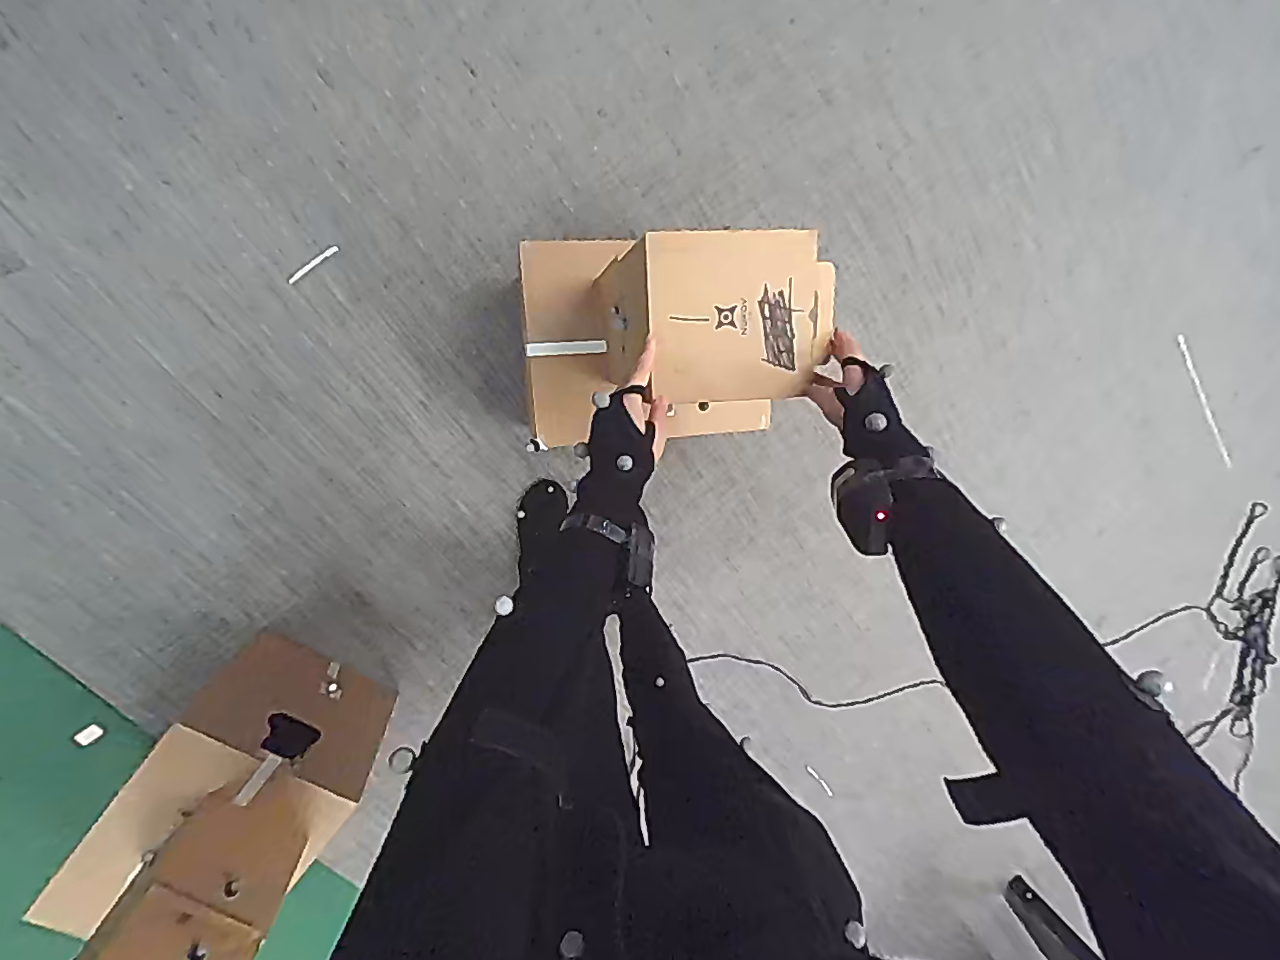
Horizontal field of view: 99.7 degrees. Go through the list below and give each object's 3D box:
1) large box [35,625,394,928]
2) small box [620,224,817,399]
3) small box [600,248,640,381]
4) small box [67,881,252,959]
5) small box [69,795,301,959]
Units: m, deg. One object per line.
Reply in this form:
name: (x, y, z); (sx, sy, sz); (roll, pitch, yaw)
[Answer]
large box: (-0.740, 0.563, 1.018); (0.320, 0.320, 0.408); (38, 93, -16)
small box: (0.079, -0.183, 0.618); (0.179, 0.176, 0.168); (-4, 102, -11)
small box: (0.050, -0.232, 0.774); (0.179, 0.176, 0.168); (-9, 102, -12)
small box: (-0.614, 0.637, 0.636); (0.179, 0.176, 0.168); (-45, 107, -1)
small box: (-0.647, 0.611, 0.792); (0.168, 0.176, 0.179); (-46, 108, -1)
